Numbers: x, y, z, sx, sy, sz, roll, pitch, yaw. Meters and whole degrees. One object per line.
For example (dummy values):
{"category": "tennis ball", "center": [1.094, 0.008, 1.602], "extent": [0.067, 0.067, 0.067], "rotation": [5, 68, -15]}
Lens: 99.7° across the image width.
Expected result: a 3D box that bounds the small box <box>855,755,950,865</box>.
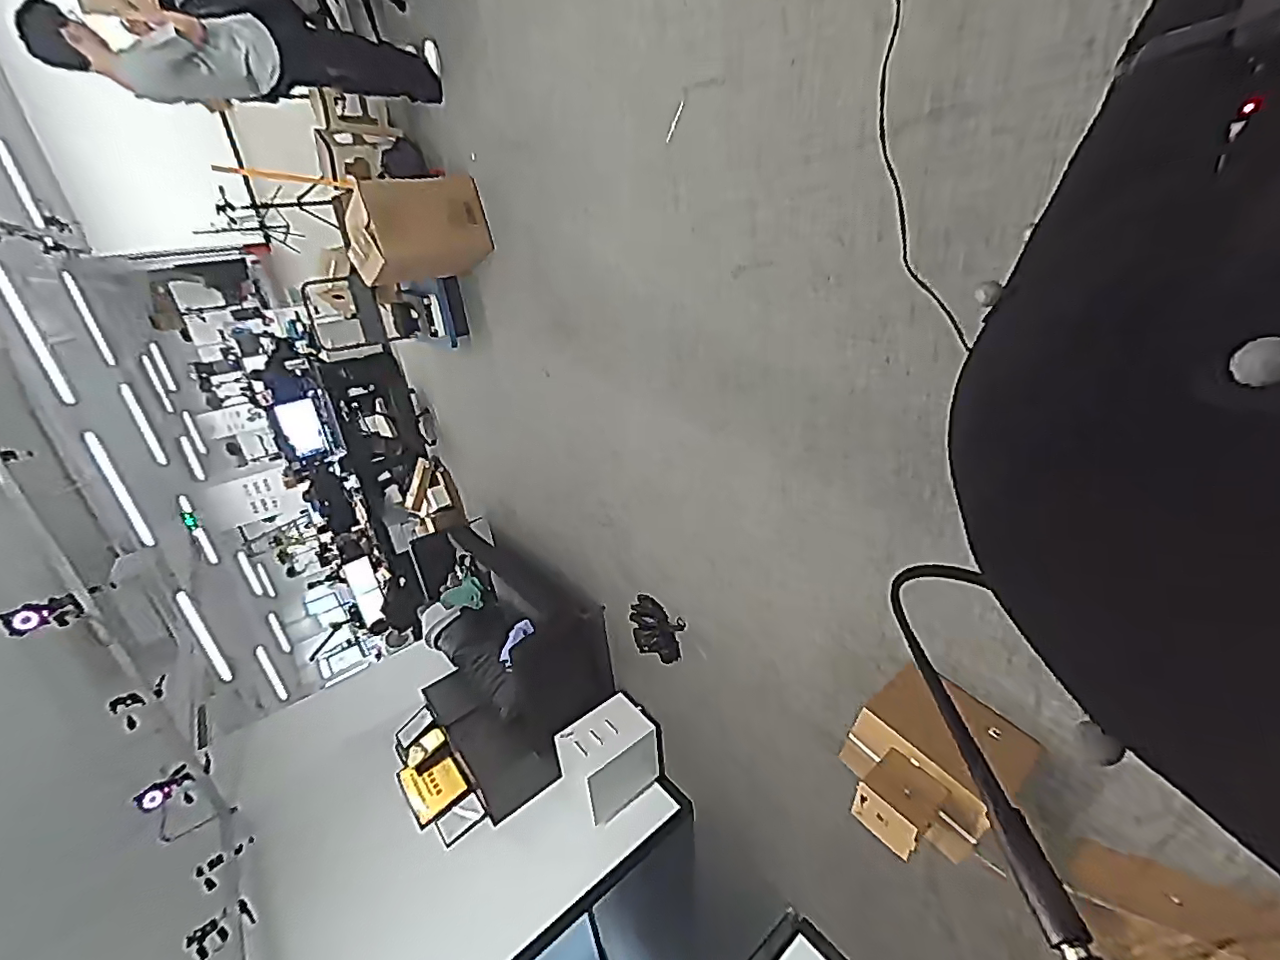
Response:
{"category": "small box", "center": [0.756, 0.939, 1.555], "extent": [0.179, 0.176, 0.168], "rotation": [30, 132, 43]}
